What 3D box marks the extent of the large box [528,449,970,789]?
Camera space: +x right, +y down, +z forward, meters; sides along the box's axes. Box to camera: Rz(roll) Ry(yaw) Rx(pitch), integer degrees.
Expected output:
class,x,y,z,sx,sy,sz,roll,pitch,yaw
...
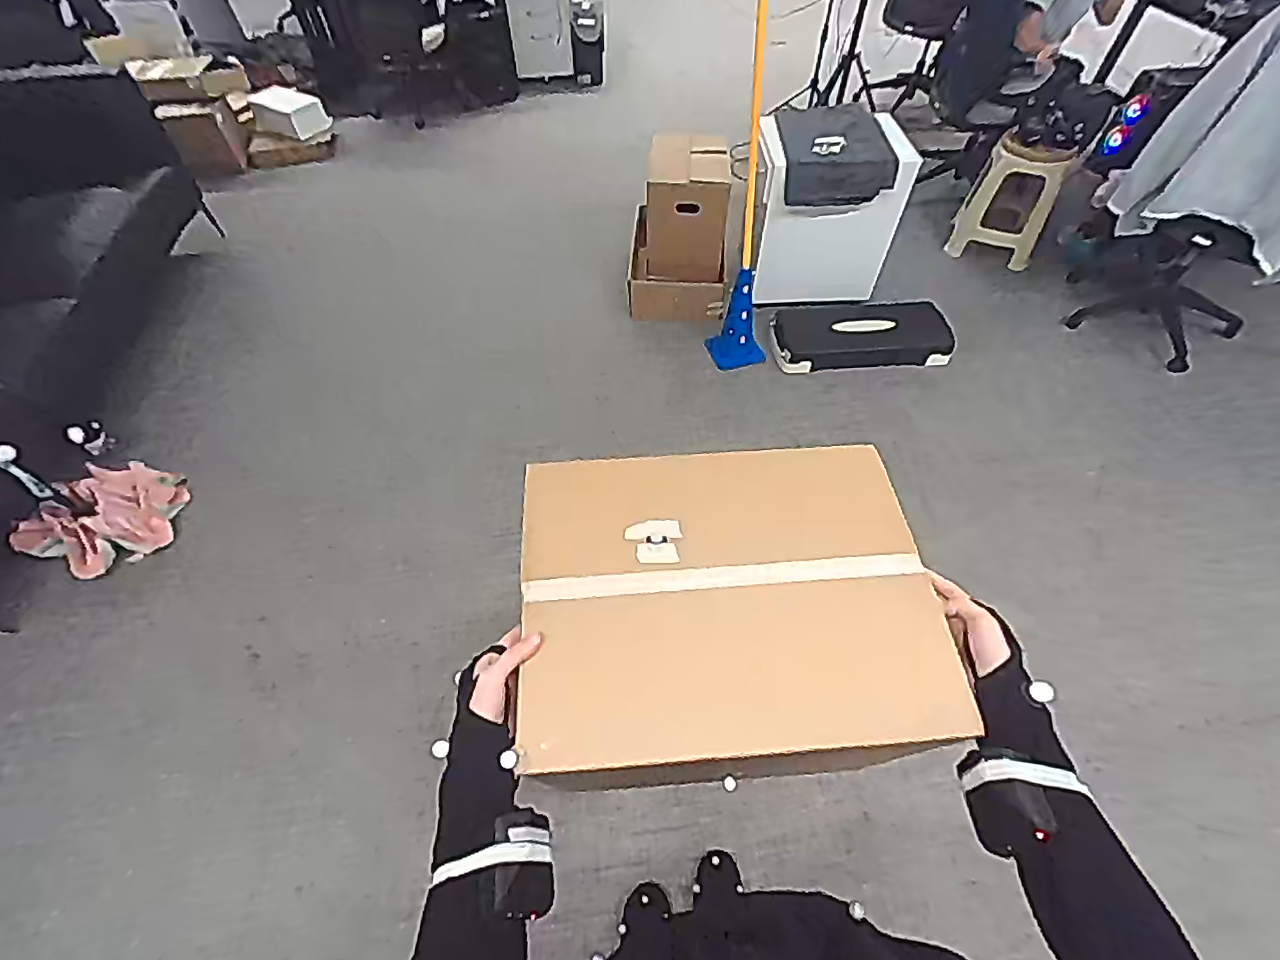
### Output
class,x,y,z,sx,sy,sz,roll,pitch,yaw
large box,0.091,0.188,0.679,0.408,0.320,0.320,-5,57,-2
